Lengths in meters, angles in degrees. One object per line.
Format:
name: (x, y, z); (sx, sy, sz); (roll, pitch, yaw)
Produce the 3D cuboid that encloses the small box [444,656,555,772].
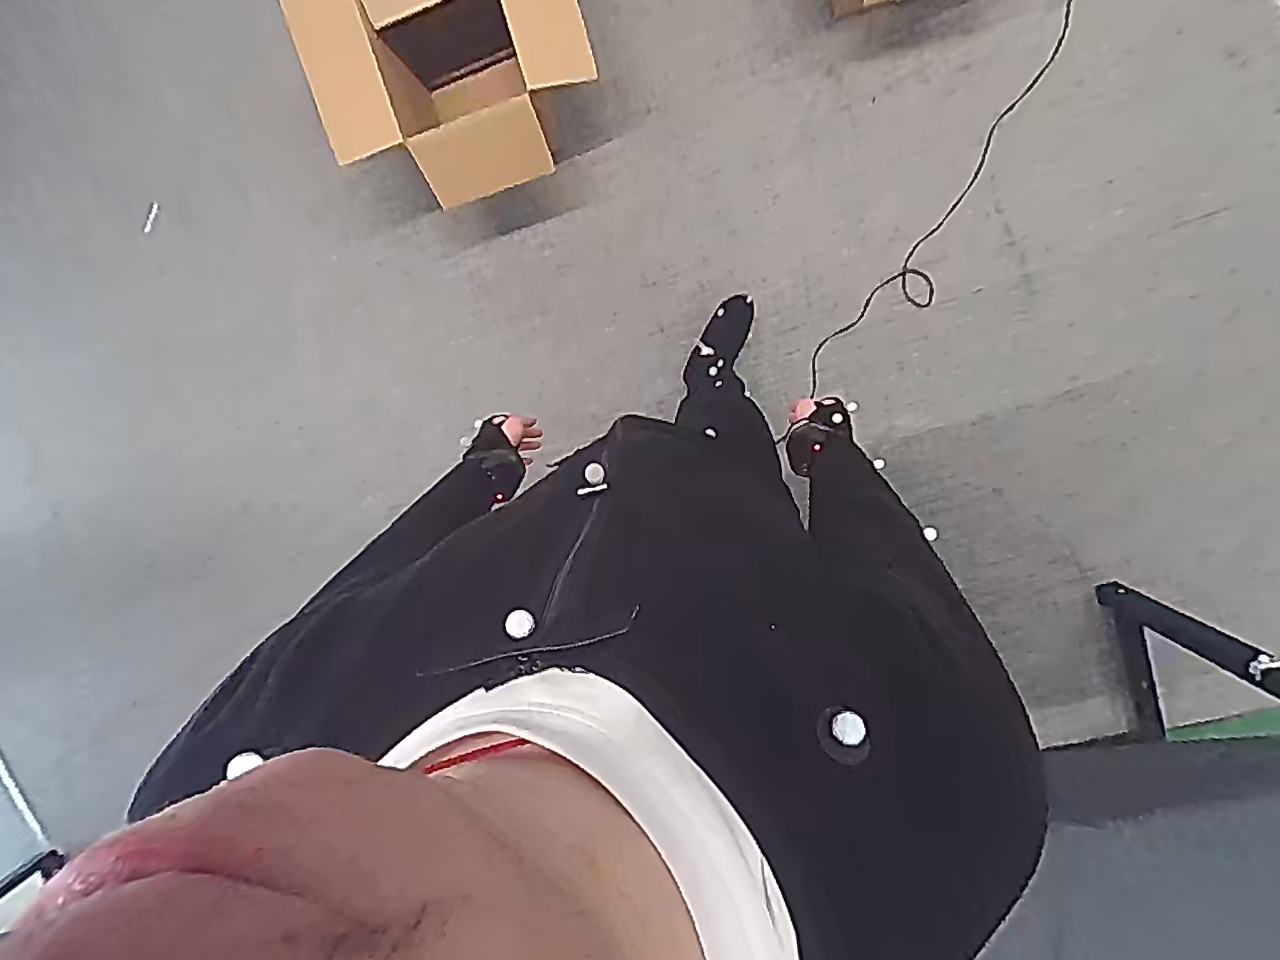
small box: (-0.324, 0.542, 1.284); (0.168, 0.176, 0.179); (-24, 97, 11)
